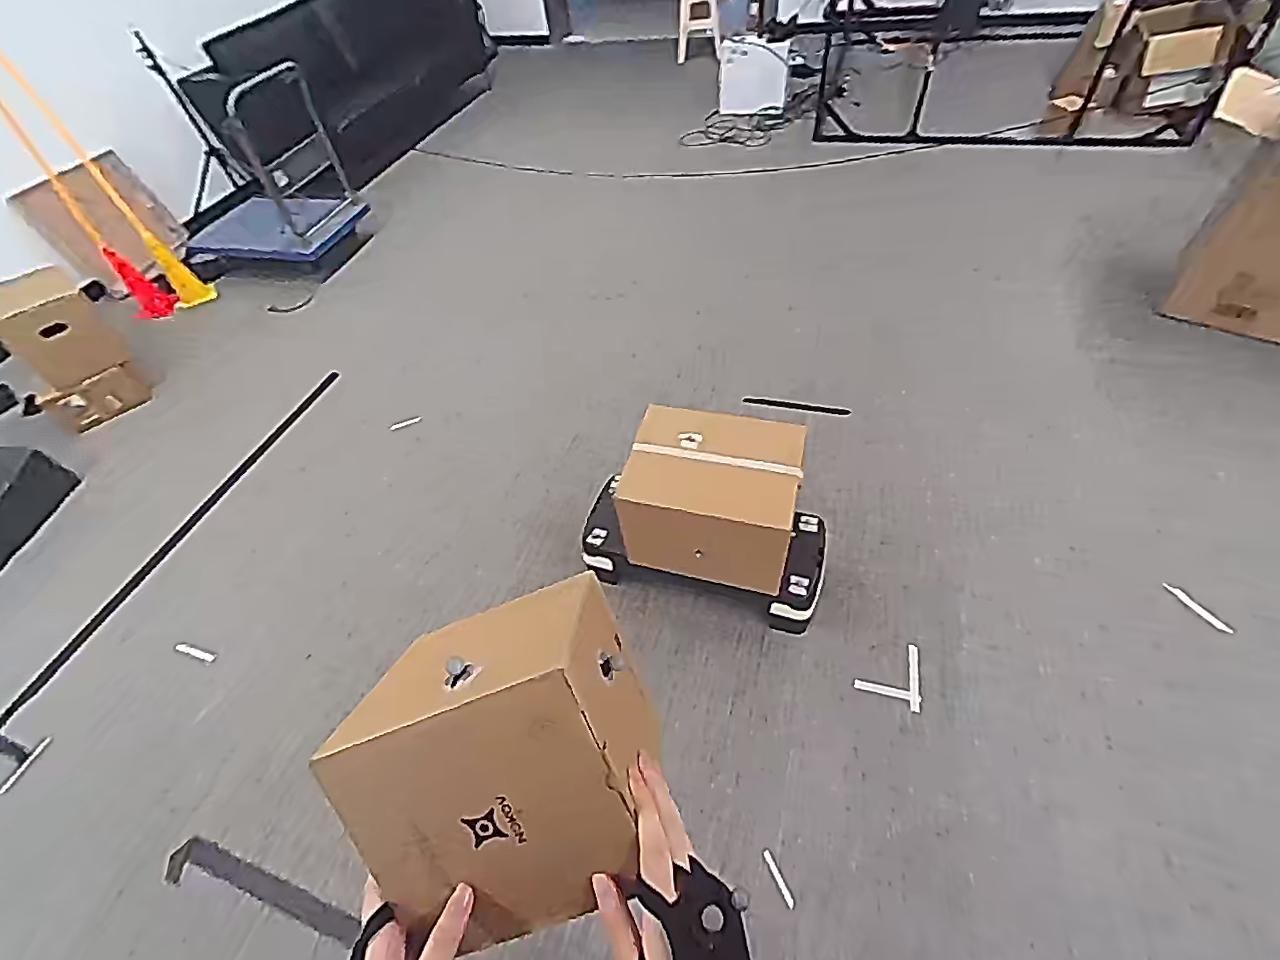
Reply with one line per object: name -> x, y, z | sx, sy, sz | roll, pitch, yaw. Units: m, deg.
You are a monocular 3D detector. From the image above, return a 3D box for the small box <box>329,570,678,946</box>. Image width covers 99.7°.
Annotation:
small box -> -0.082, 0.189, 0.415 | 0.179, 0.168, 0.176 | -20, 8, 6

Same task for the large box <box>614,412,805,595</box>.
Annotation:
large box -> 0.189, 0.060, 1.384 | 0.408, 0.320, 0.320 | 9, 53, 16
